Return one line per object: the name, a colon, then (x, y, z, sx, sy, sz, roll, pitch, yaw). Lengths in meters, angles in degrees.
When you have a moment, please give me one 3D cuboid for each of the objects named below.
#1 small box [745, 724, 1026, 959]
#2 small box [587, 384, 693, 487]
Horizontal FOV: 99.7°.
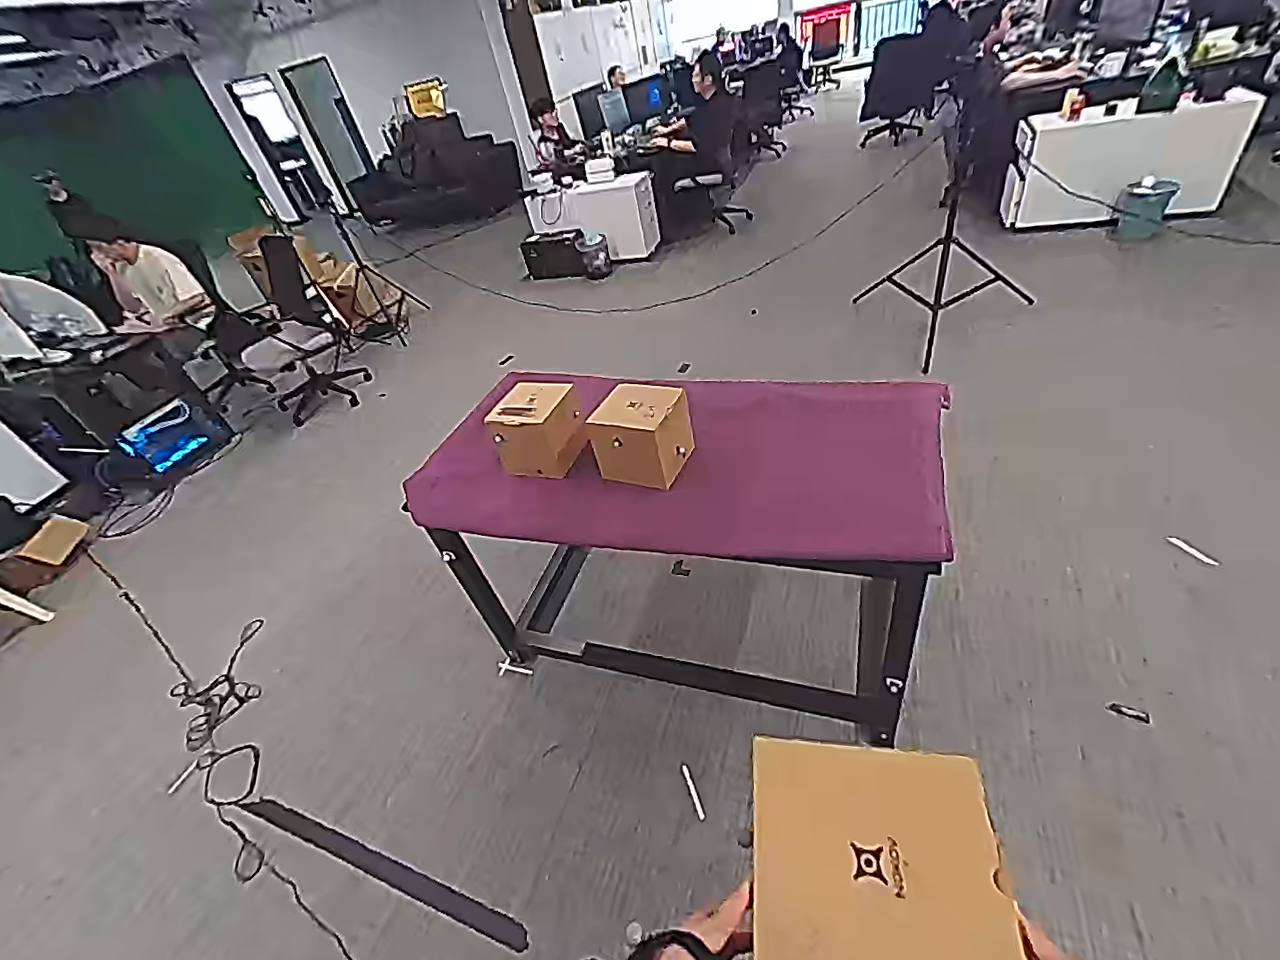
small box: (0.179, 0.327, 0.449, 0.179, 0.176, 0.168, 1, 44, 12)
small box: (0.006, -0.103, 1.252, 0.179, 0.176, 0.168, 11, 45, 27)
